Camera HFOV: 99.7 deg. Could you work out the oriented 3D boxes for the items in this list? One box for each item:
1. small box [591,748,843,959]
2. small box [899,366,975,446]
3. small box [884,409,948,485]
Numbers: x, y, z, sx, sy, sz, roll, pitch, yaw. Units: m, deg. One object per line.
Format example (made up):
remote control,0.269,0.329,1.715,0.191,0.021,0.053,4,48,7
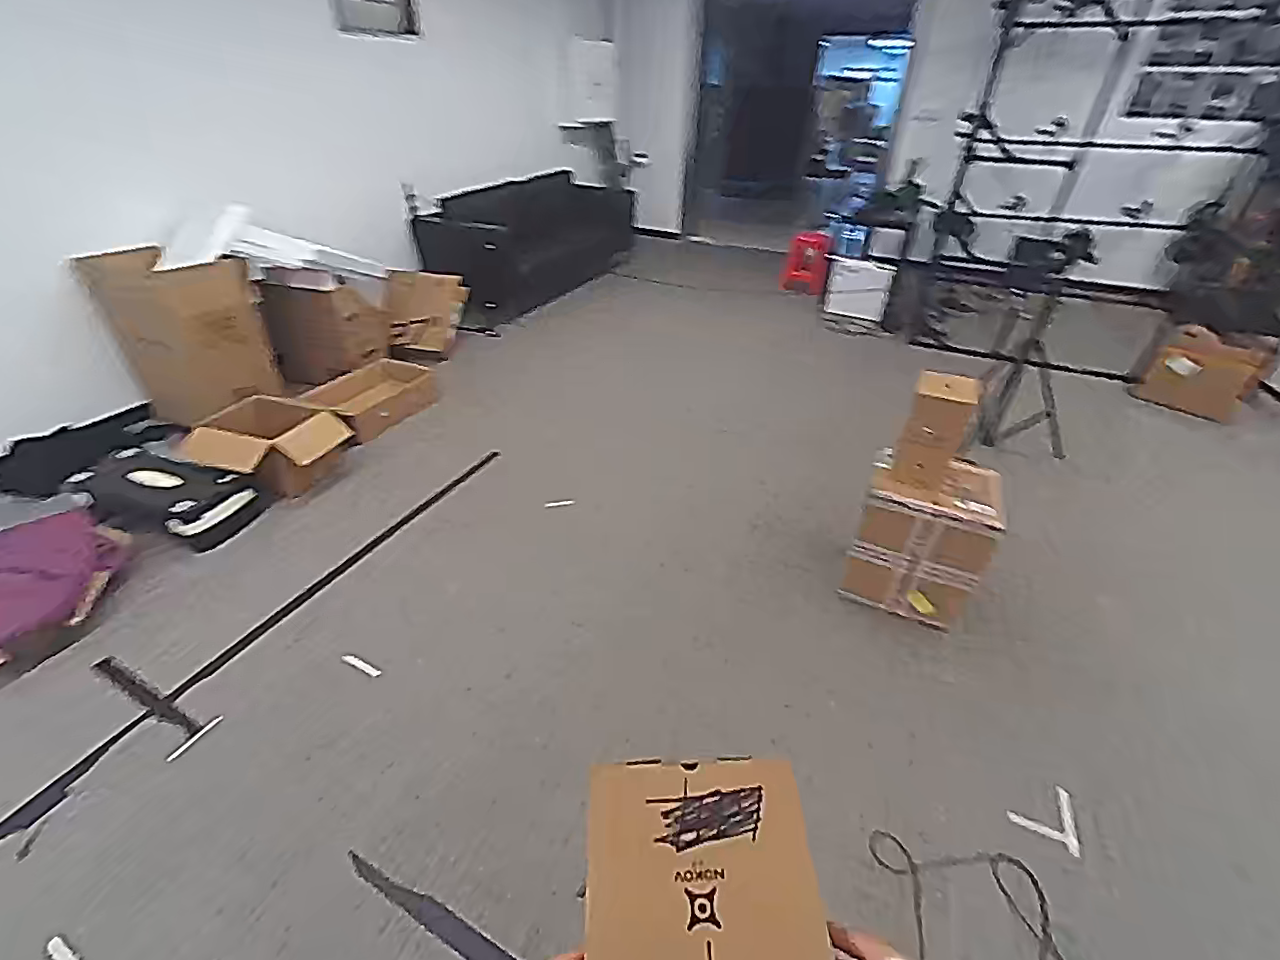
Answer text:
small box,0.048,0.337,0.435,0.168,0.176,0.179,-2,46,-1
small box,0.927,-0.233,1.693,0.168,0.176,0.179,16,42,24
small box,0.925,-0.109,1.801,0.168,0.176,0.179,17,42,23
